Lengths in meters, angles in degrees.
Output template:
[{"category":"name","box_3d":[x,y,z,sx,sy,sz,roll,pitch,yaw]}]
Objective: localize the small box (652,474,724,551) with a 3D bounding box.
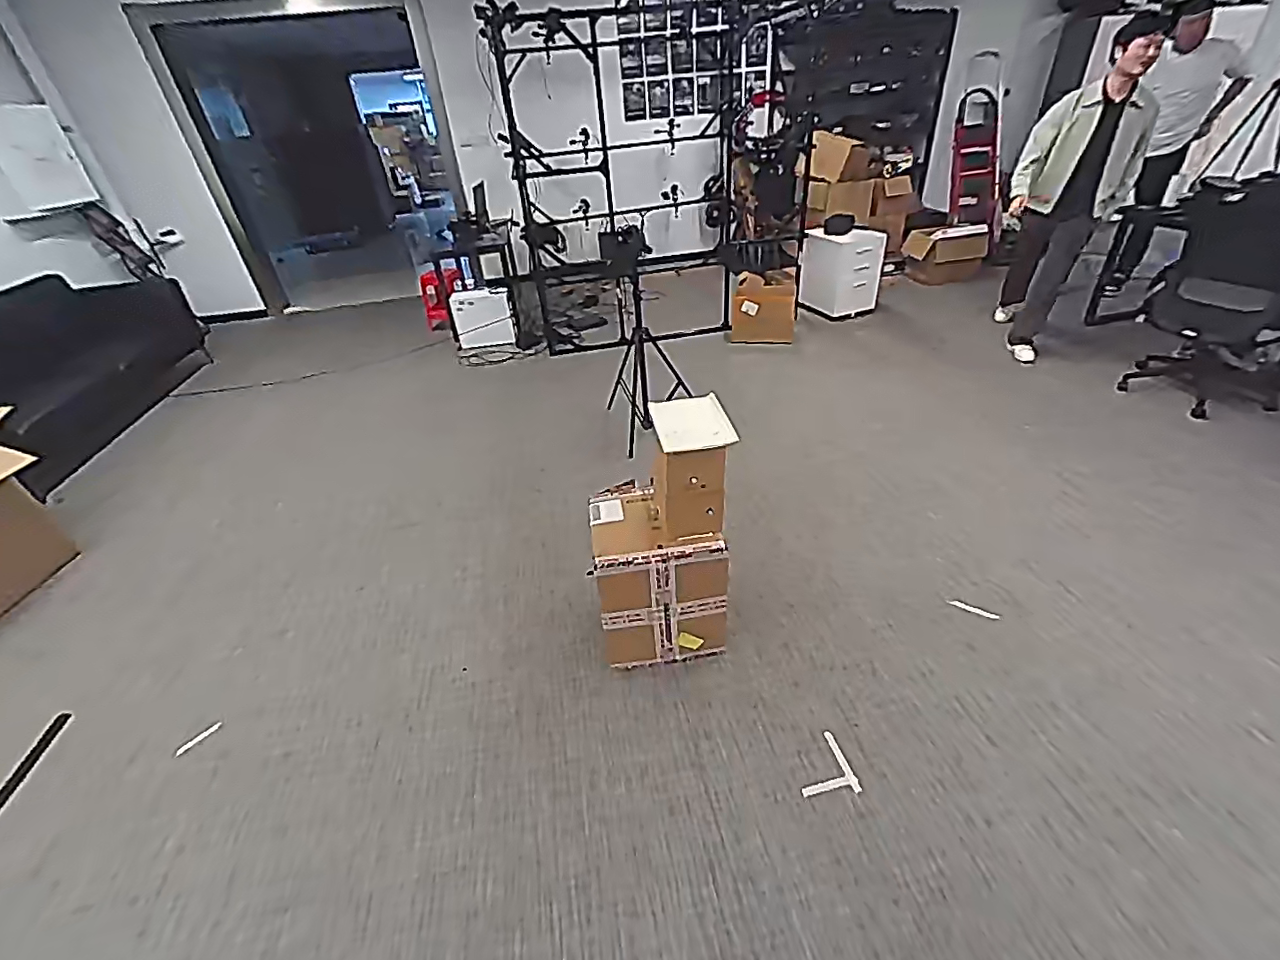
[{"category":"small box","box_3d":[0.136,0.086,1.598,0.179,0.176,0.168,-9,36,-8]}]

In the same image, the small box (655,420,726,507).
[{"category":"small box","box_3d":[0.133,-0.048,1.503,0.168,0.176,0.179,-7,37,-6]}]
